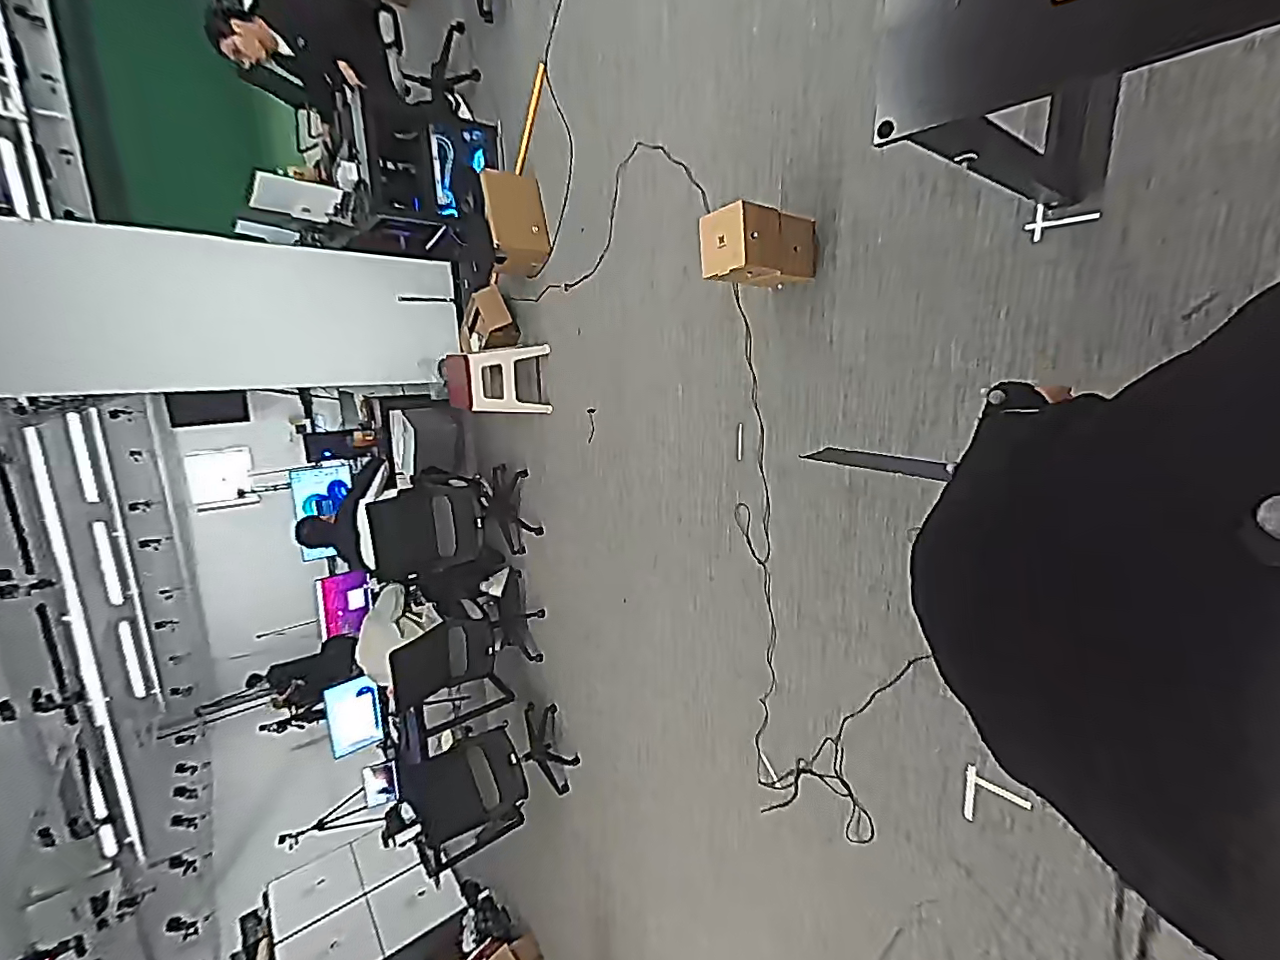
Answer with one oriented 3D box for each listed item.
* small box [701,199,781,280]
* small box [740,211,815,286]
[{"bbox_3d":[0.297,-0.693,1.580,0.168,0.176,0.179,4,101,51],"label":"small box"},{"bbox_3d":[0.425,-0.710,1.678,0.168,0.176,0.179,10,107,51],"label":"small box"}]
